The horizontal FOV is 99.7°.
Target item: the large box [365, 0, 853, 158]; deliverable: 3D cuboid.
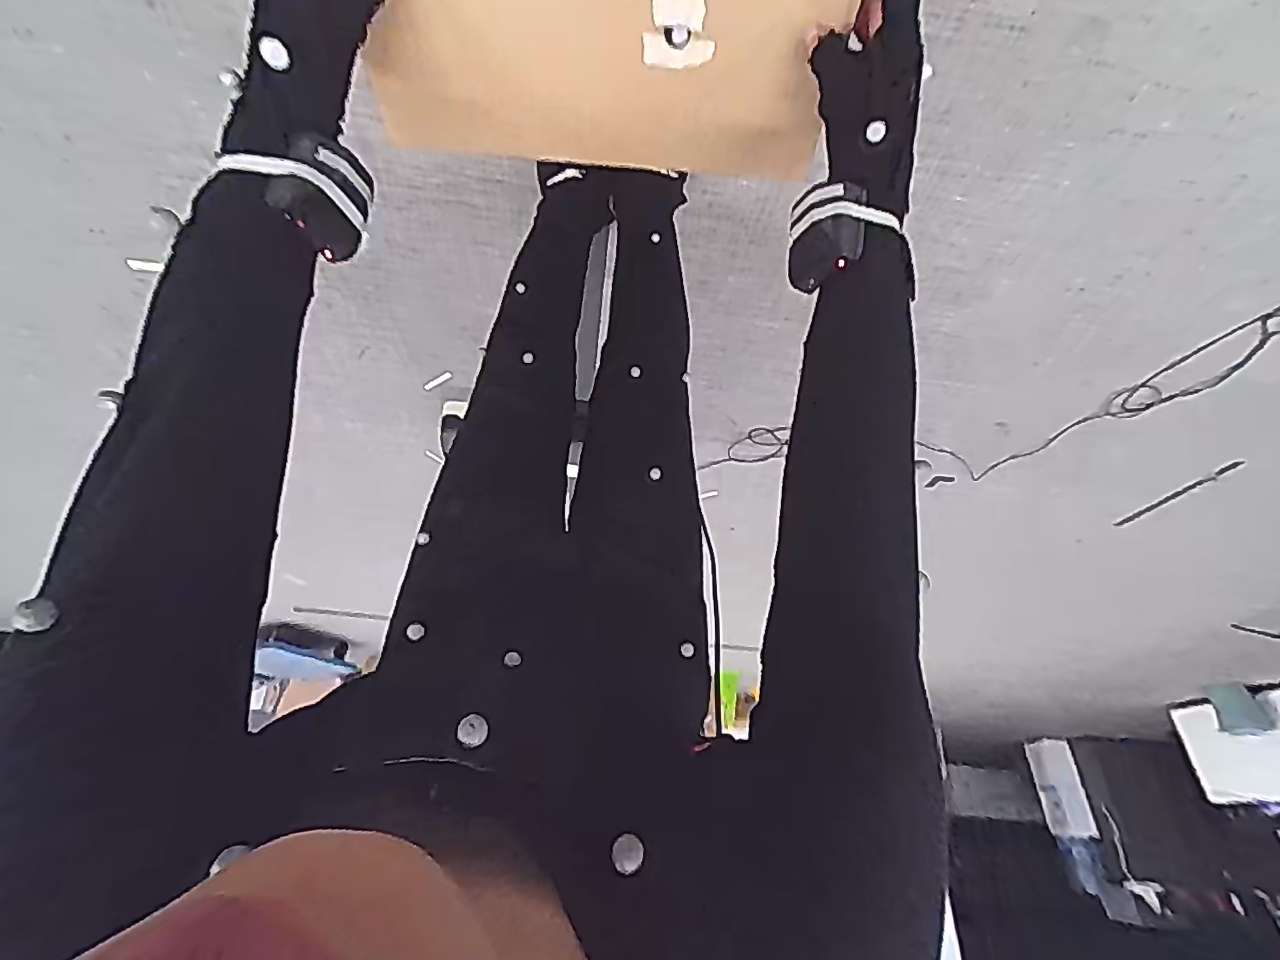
[{"bbox_3d":[-0.021,-0.533,0.486,0.408,0.320,0.320,3,148,0],"label":"large box"}]
